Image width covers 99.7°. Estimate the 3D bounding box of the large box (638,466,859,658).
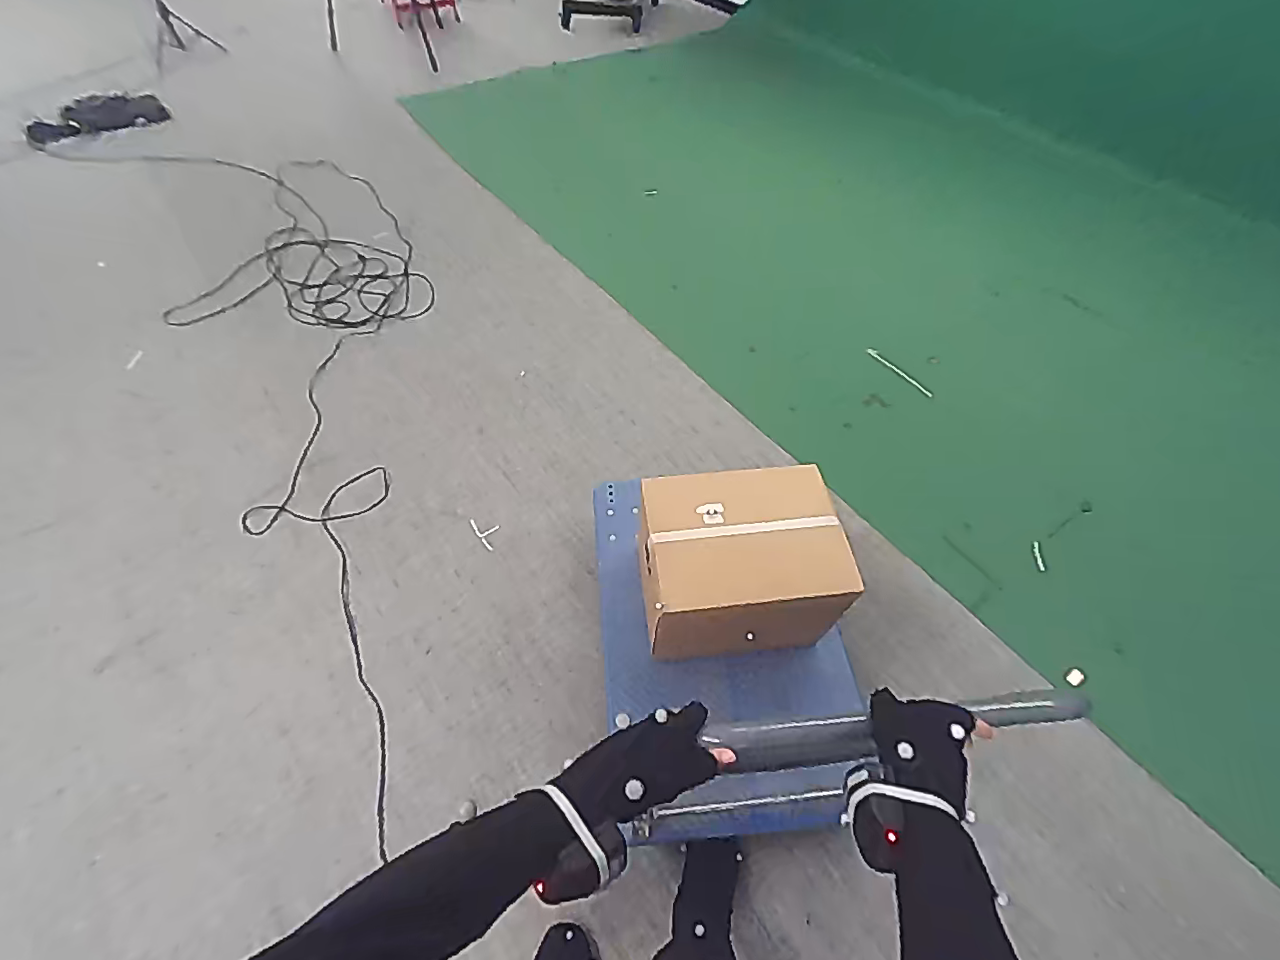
[{"bbox_3d":[0.216,0.197,1.252,0.408,0.320,0.320,-6,55,-5],"label":"large box"}]
